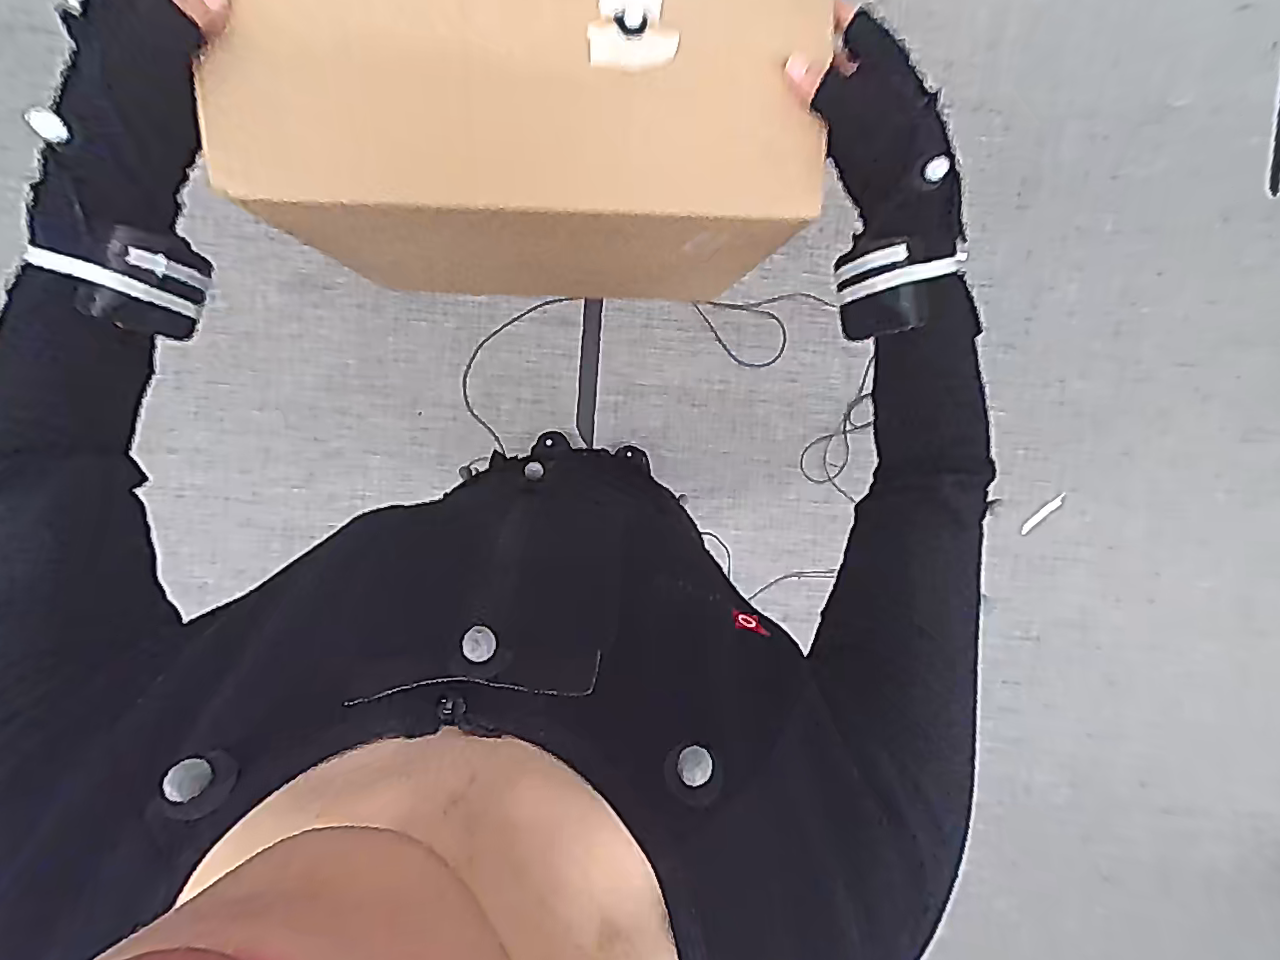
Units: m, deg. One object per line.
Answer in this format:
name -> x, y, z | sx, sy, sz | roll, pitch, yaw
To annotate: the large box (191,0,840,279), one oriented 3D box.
large box -> -0.083, -0.369, 0.474 | 0.408, 0.320, 0.320 | -1, 99, -7
